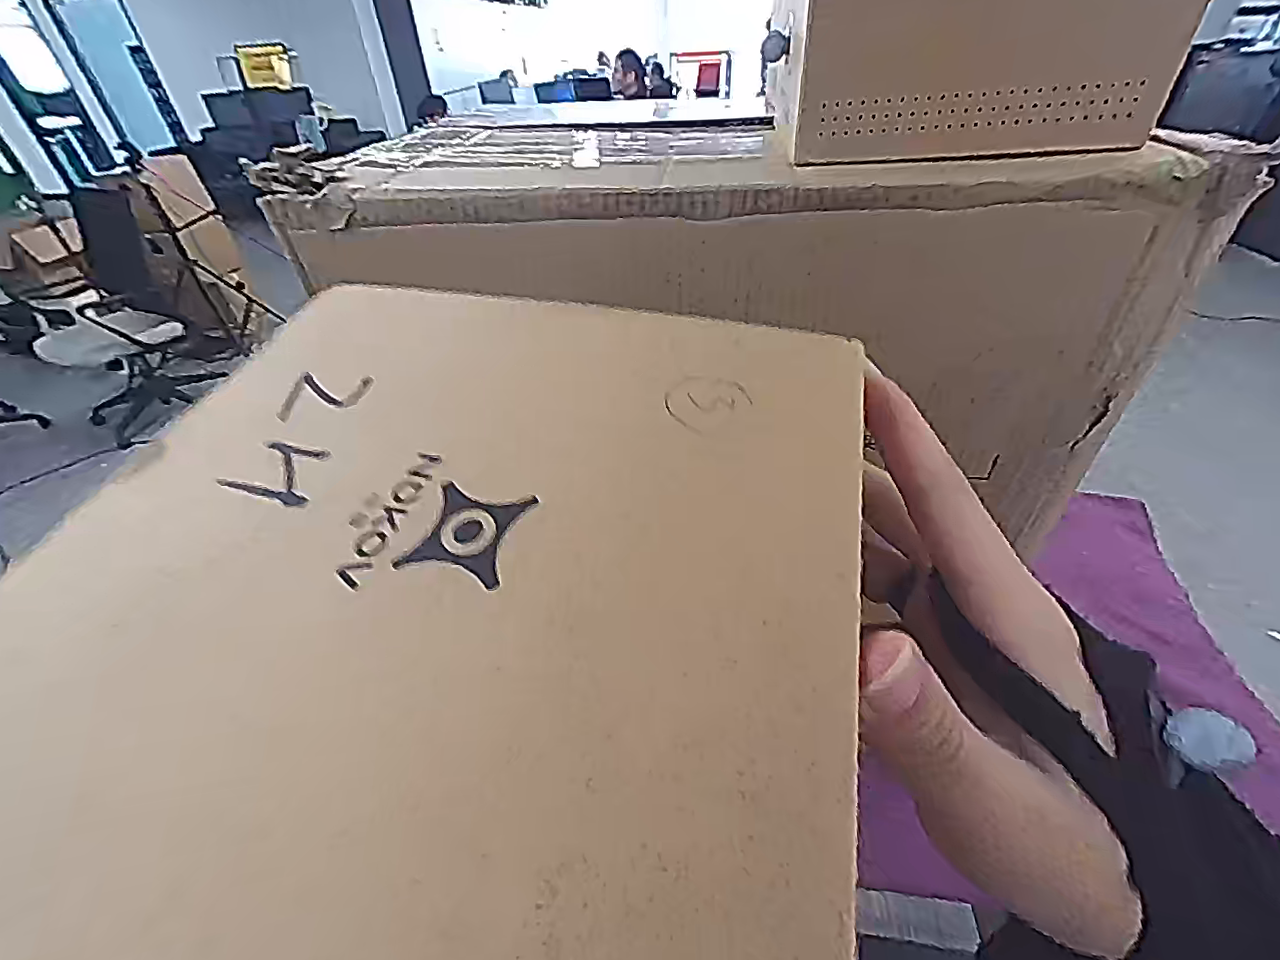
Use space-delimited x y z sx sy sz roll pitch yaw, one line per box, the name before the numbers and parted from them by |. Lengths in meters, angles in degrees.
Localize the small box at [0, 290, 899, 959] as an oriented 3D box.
small box | -0.035 0.065 0.177 0.179 0.176 0.168 10 51 12
